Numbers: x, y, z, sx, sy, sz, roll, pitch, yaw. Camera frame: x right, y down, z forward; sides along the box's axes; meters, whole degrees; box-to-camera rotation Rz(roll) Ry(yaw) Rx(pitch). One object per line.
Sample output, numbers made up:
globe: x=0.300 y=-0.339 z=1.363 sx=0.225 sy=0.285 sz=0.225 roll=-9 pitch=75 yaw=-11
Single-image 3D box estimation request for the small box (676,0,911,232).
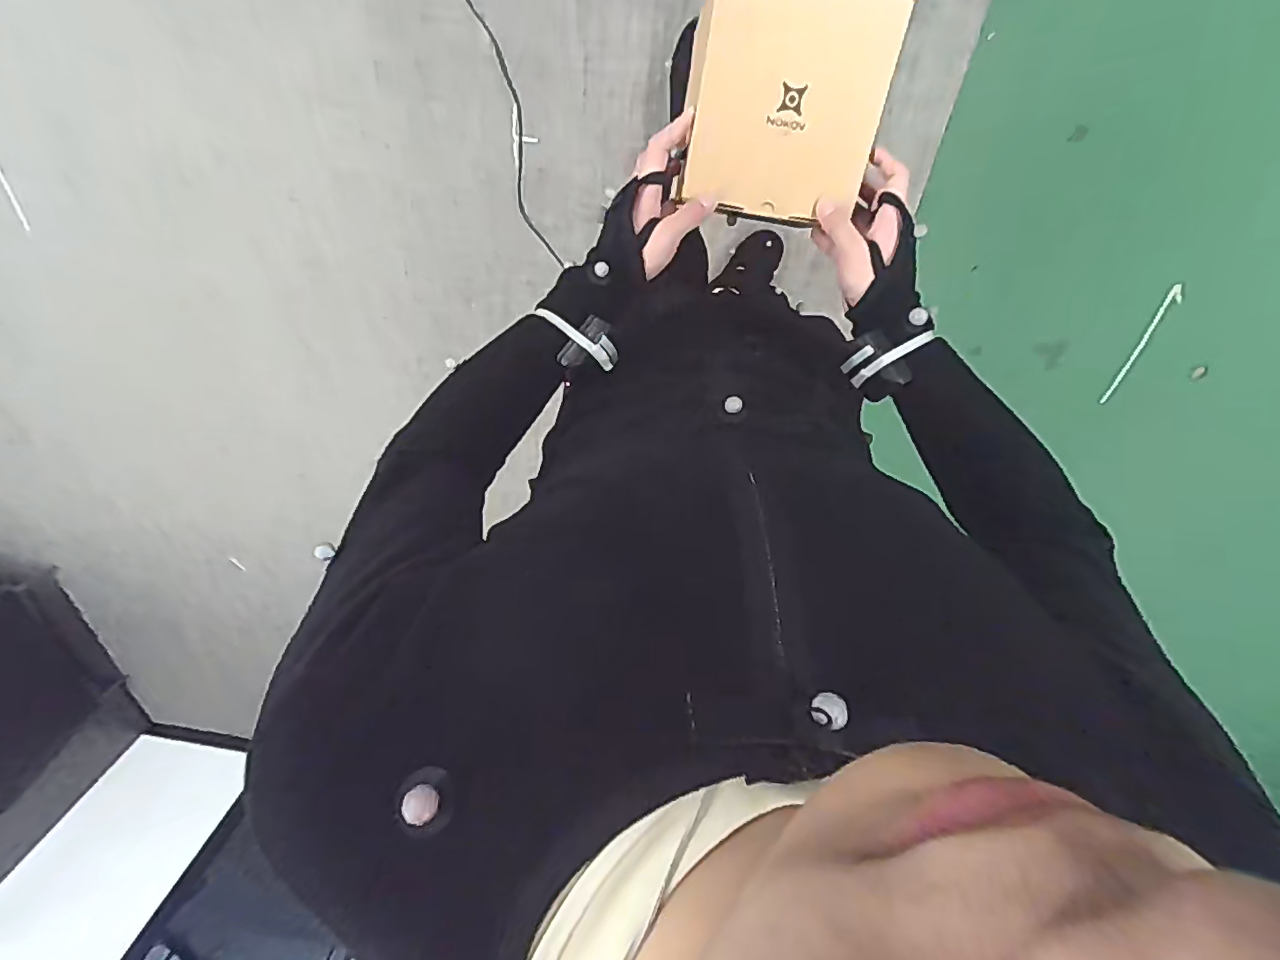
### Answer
small box: x=0.134 y=-0.364 z=0.554 sx=0.168 sy=0.176 sz=0.179 roll=7 pitch=116 yaw=-5
